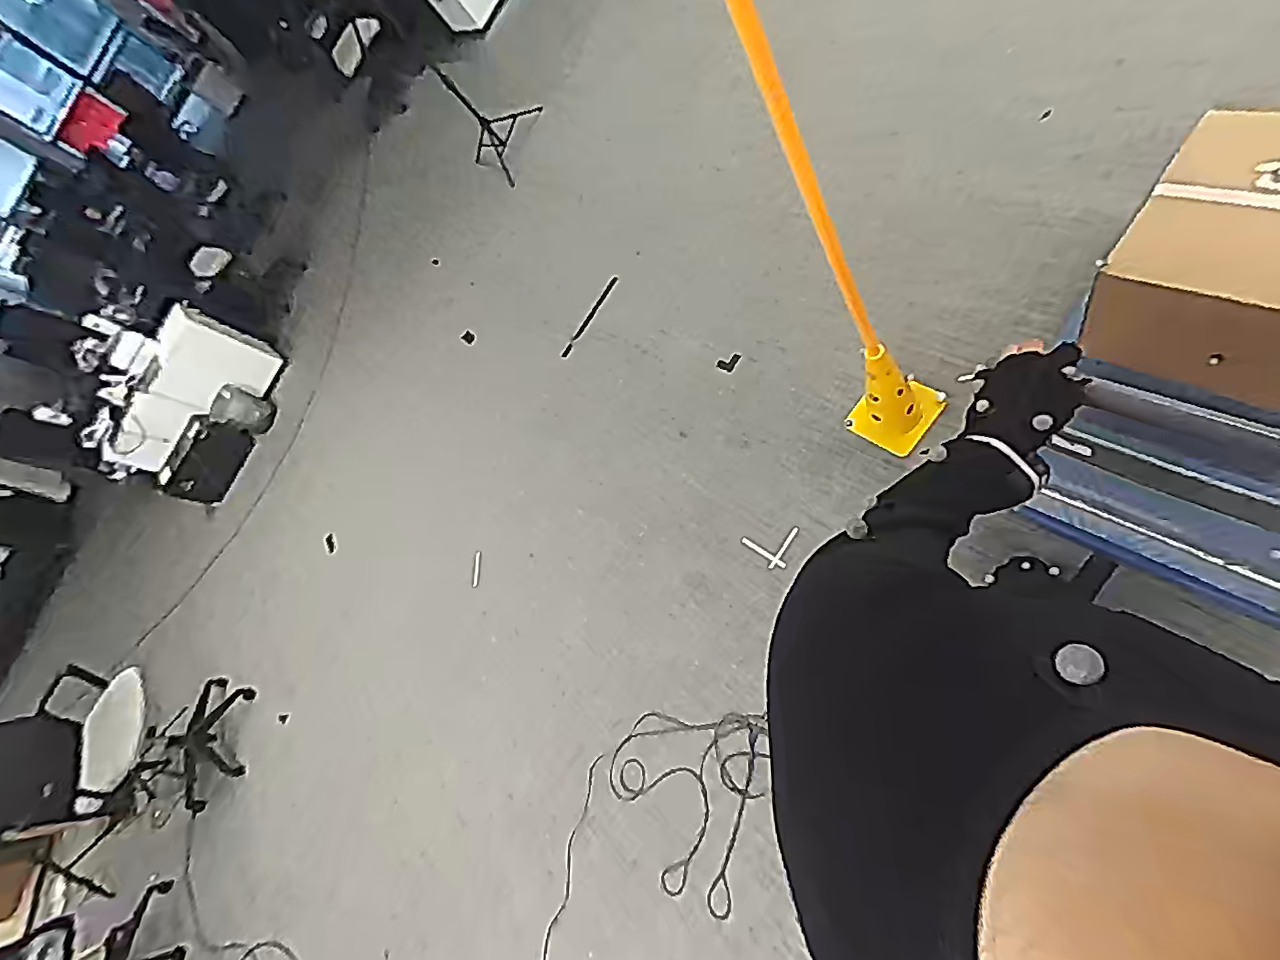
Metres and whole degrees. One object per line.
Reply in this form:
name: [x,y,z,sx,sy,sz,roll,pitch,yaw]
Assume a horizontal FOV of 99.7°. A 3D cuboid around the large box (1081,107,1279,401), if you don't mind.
large box: [1.066,-0.359,0.906,0.408,0.320,0.320,36,97,37]
